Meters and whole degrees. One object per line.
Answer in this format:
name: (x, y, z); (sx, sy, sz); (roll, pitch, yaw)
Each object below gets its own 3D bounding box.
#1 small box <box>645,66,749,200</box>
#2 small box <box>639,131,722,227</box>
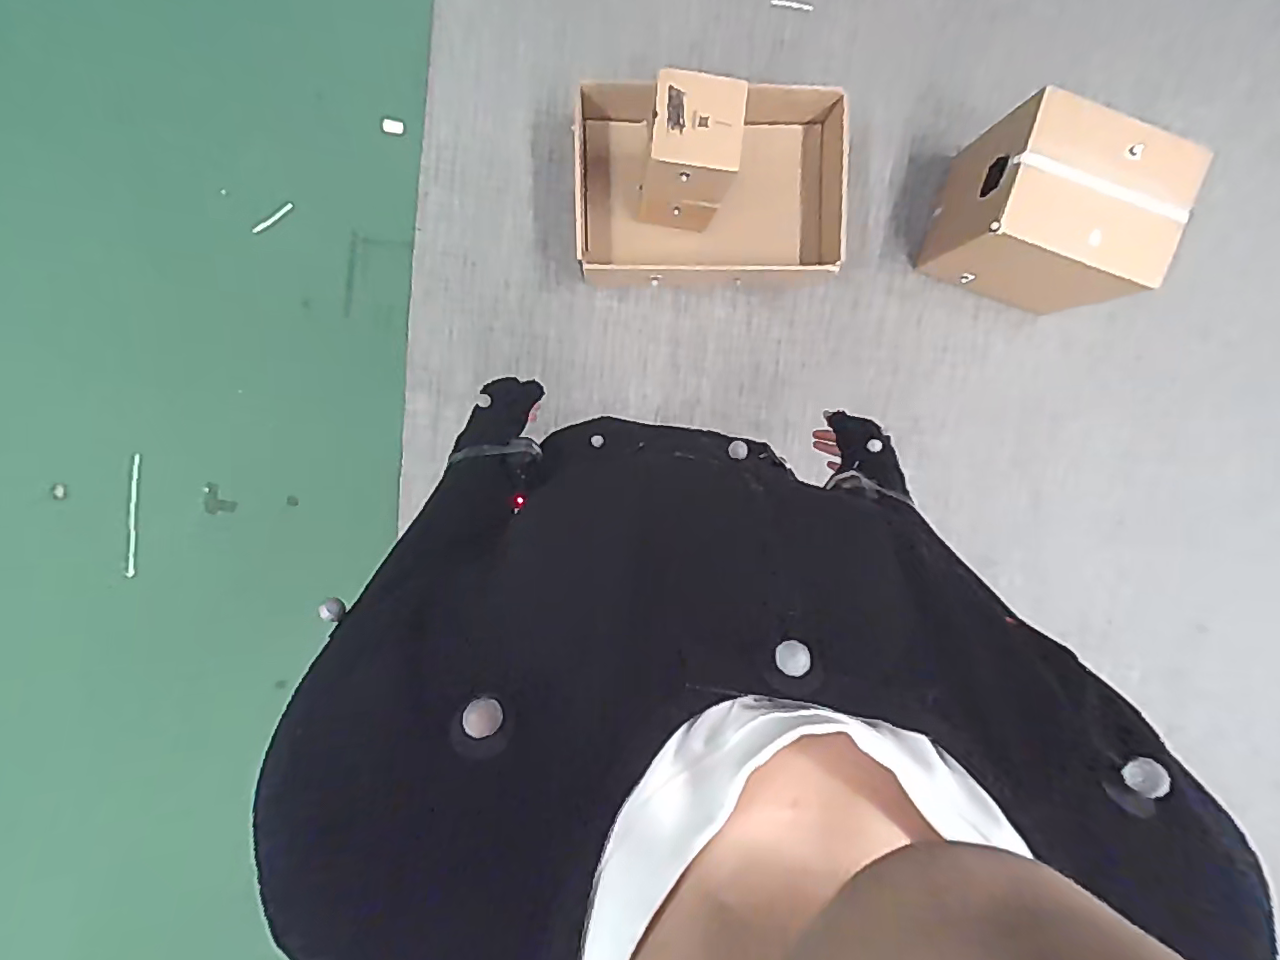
small box: (0.107, -0.695, 1.105); (0.179, 0.176, 0.168); (5, 97, -6)
small box: (0.096, -0.712, 1.268); (0.179, 0.176, 0.168); (6, 96, -7)
